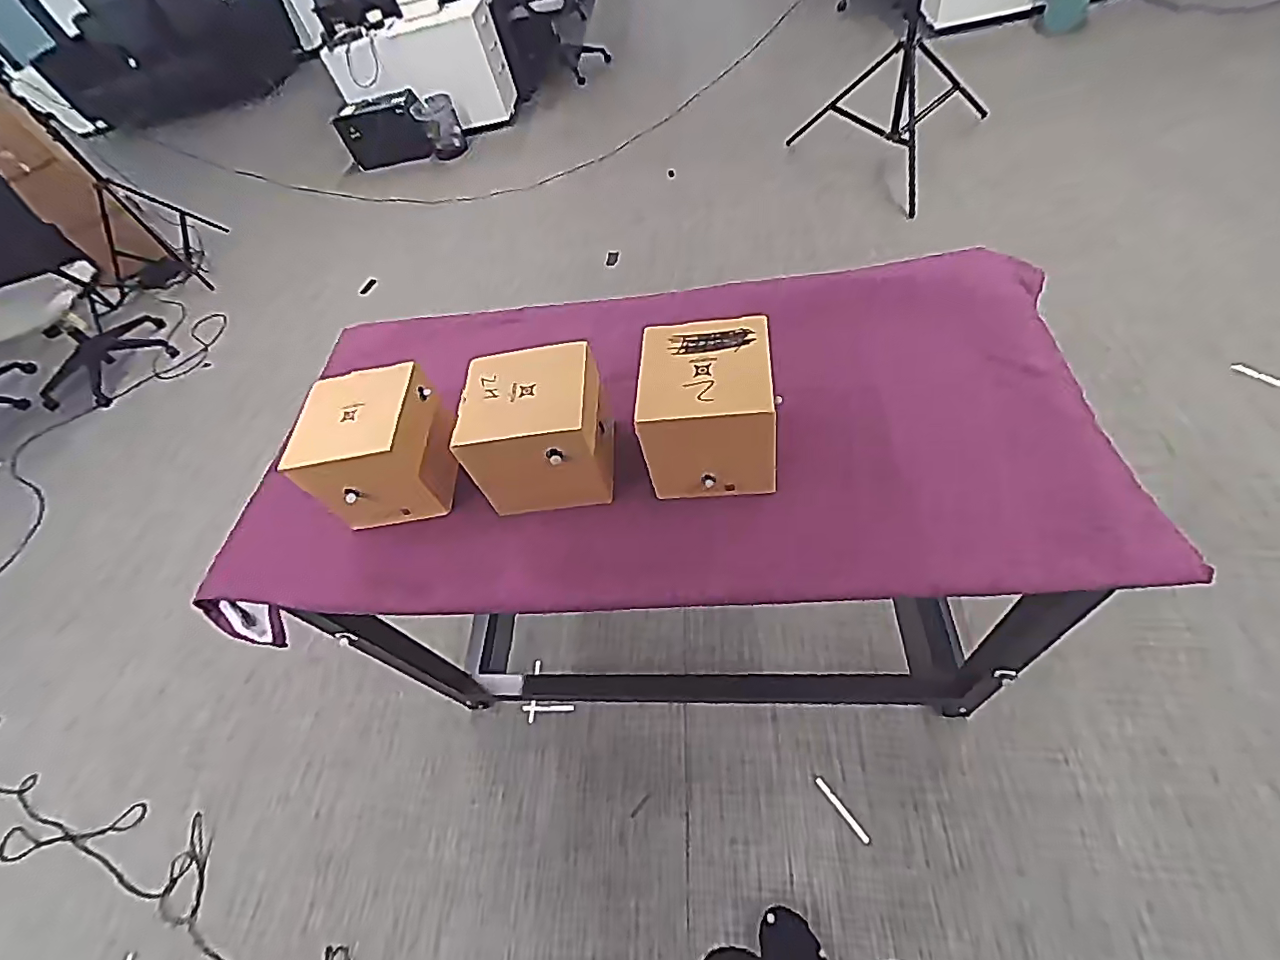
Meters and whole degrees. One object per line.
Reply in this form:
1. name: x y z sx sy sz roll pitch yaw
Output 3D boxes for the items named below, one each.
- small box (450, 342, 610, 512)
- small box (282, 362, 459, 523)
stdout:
1. small box: -0.142 -0.071 0.781 0.179 0.176 0.168 -7 53 8
2. small box: -0.393 -0.048 0.829 0.168 0.176 0.179 -10 53 7
